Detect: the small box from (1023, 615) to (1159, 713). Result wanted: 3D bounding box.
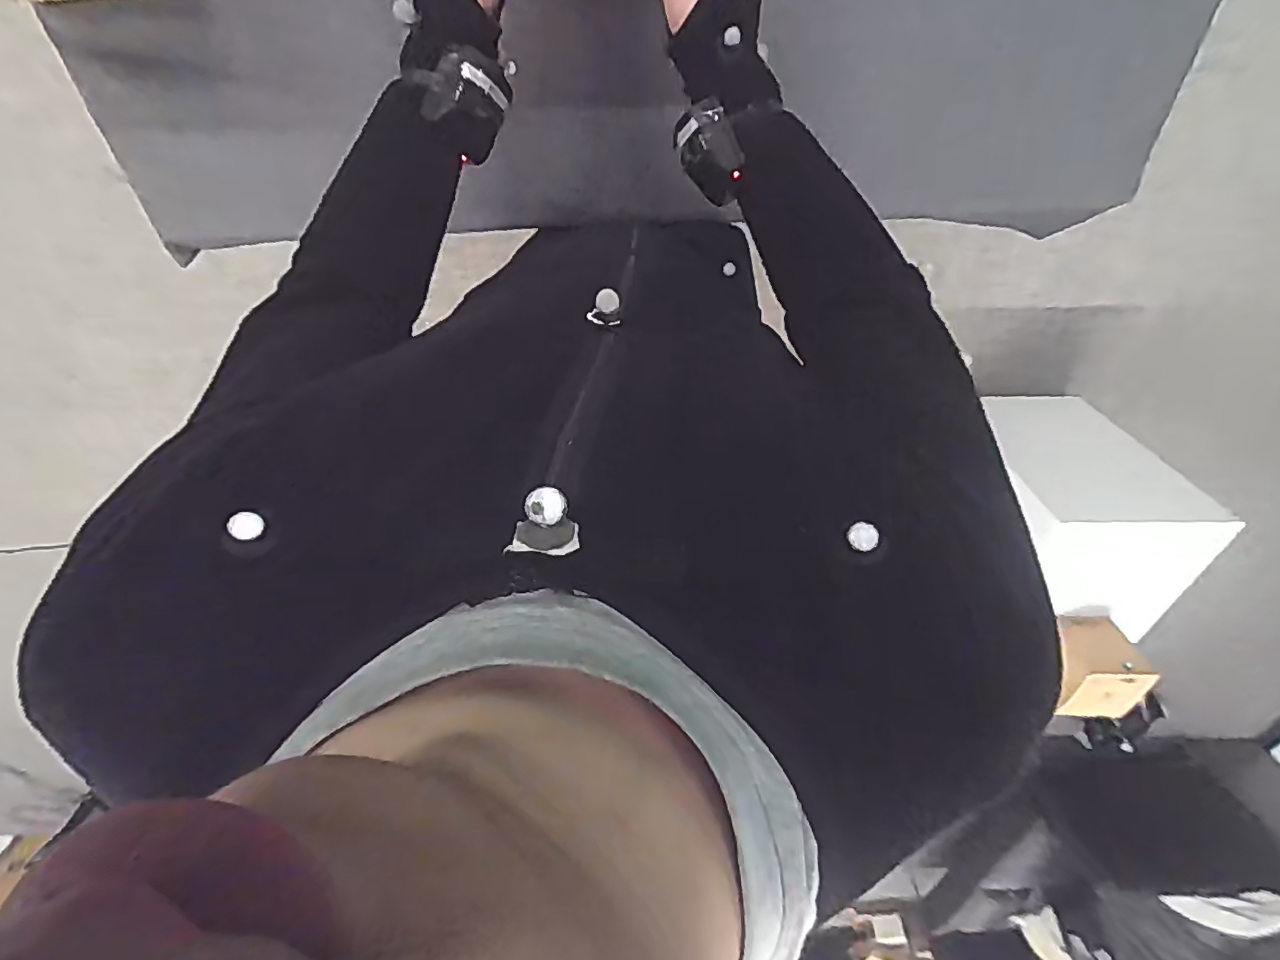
[{"bbox_3d":[1.105,0.458,1.348,0.168,0.176,0.179,0,126,-3],"label":"small box"}]
